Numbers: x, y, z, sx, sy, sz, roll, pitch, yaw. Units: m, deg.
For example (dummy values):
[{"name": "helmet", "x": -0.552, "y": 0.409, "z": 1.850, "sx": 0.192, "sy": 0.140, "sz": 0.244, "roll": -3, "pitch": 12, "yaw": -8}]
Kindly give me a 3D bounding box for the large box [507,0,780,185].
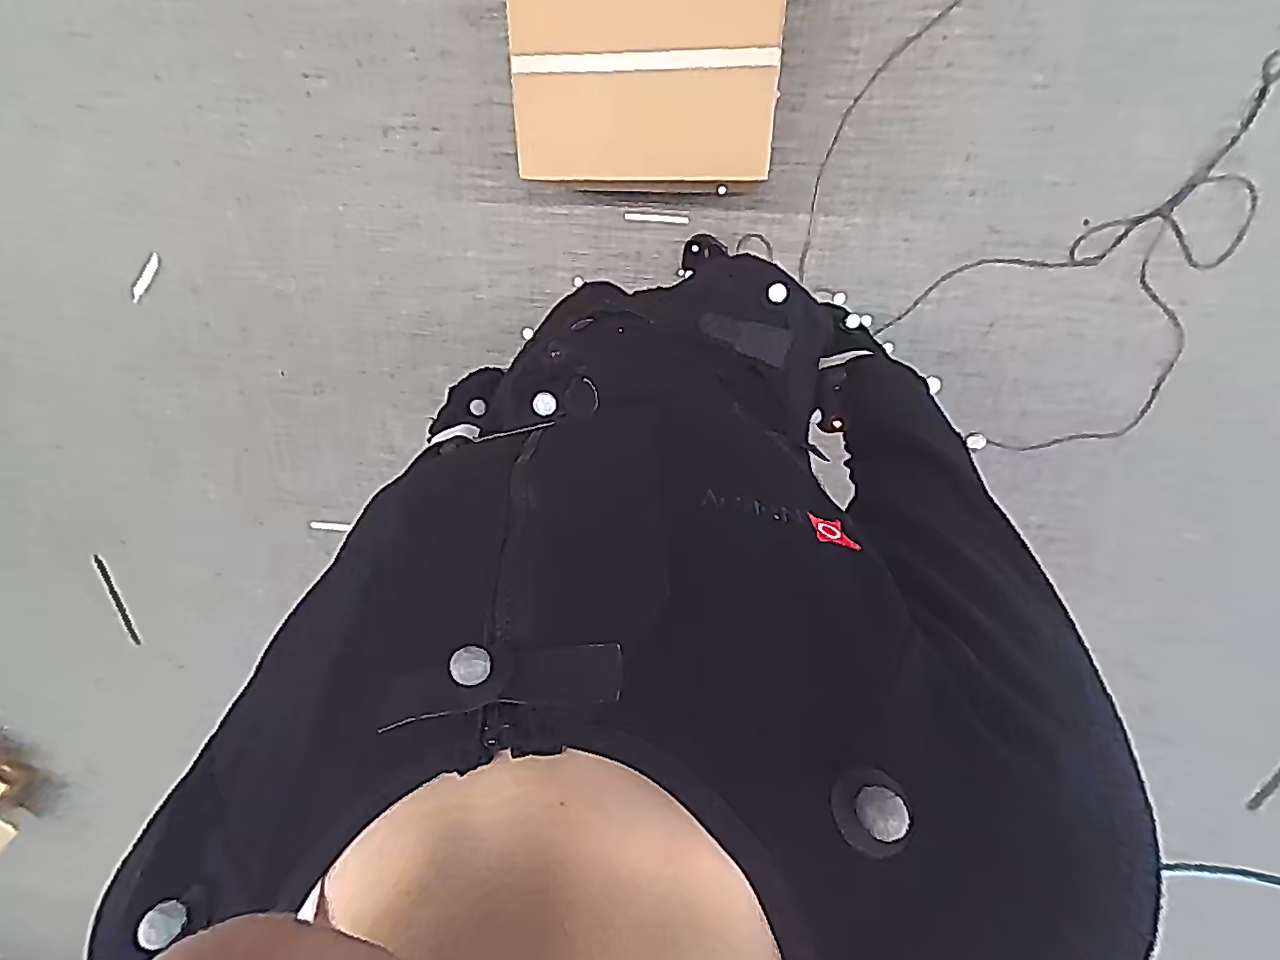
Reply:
[{"name": "large box", "x": 0.021, "y": -0.693, "z": 0.937, "sx": 0.408, "sy": 0.320, "sz": 0.320, "roll": 4, "pitch": 115, "yaw": 7}]
